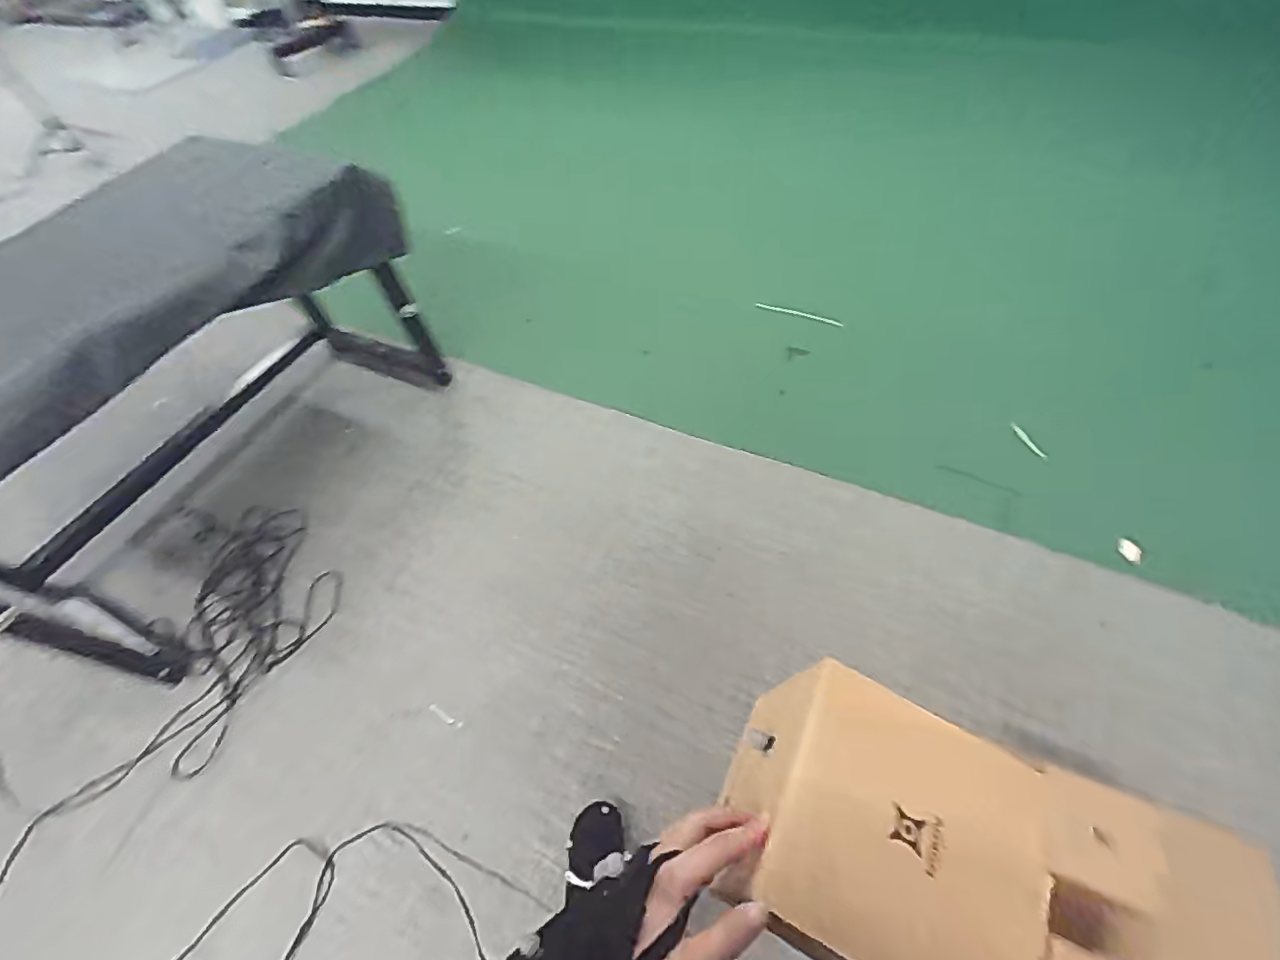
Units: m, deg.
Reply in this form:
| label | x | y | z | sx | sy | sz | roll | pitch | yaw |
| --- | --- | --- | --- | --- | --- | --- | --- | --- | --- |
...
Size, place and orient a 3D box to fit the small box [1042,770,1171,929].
| label | x | y | z | sx | sy | sz | roll | pitch | yaw |
| --- | --- | --- | --- | --- | --- | --- | --- | --- | --- |
| small box | 0.775 | 0.643 | 0.954 | 0.179 | 0.176 | 0.168 | 18 | 58 | 19 |

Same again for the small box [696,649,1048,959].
| label | x | y | z | sx | sy | sz | roll | pitch | yaw |
| --- | --- | --- | --- | --- | --- | --- | --- | --- | --- |
| small box | 0.163 | 0.265 | 0.416 | 0.179 | 0.176 | 0.168 | 28 | 57 | 8 |
